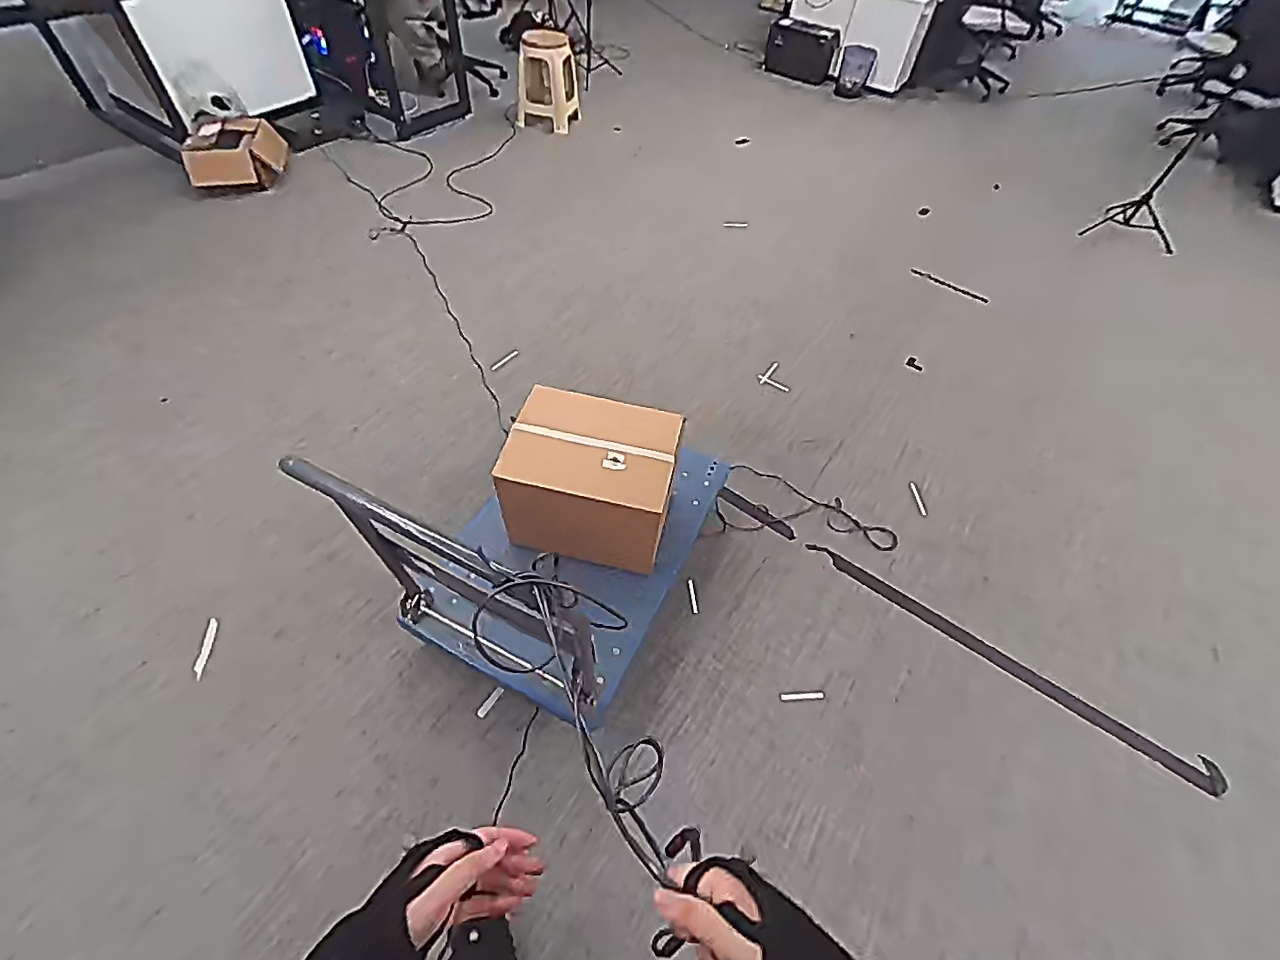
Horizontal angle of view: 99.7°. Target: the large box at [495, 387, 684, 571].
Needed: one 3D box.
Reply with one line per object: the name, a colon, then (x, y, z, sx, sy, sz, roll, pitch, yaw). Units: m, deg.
large box: (-0.124, 0.002, 1.427, 0.408, 0.320, 0.320, 13, 54, 4)
